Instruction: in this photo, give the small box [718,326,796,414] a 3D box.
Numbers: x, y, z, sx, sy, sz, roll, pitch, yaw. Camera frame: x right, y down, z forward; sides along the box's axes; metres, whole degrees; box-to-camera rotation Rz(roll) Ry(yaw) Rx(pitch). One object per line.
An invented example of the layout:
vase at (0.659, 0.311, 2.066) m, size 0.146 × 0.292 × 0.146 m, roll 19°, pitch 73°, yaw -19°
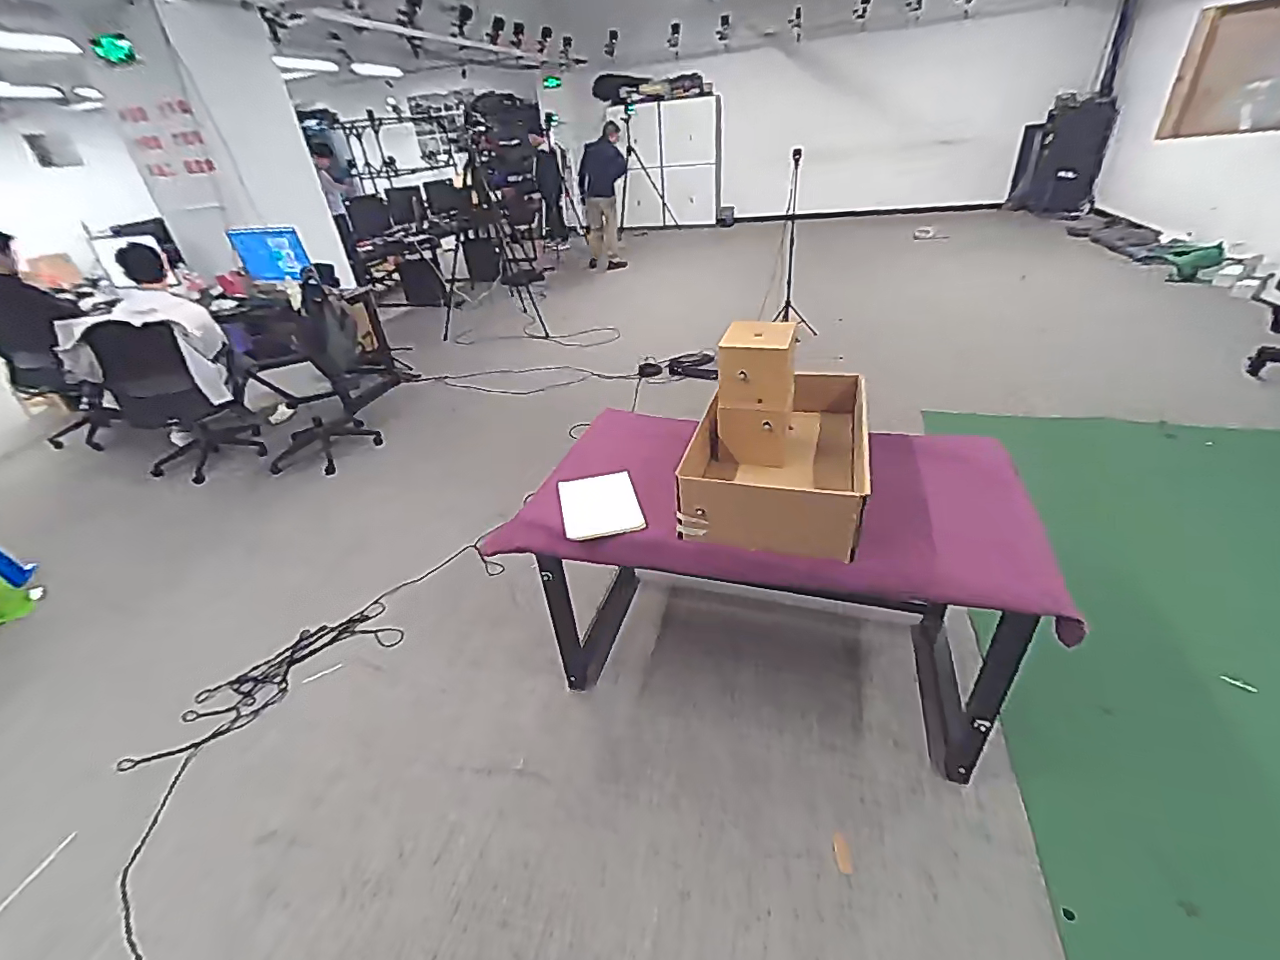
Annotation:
small box at (0.300, -0.279, 1.370) m, size 0.168 × 0.176 × 0.179 m, roll 7°, pitch 36°, yaw 20°
